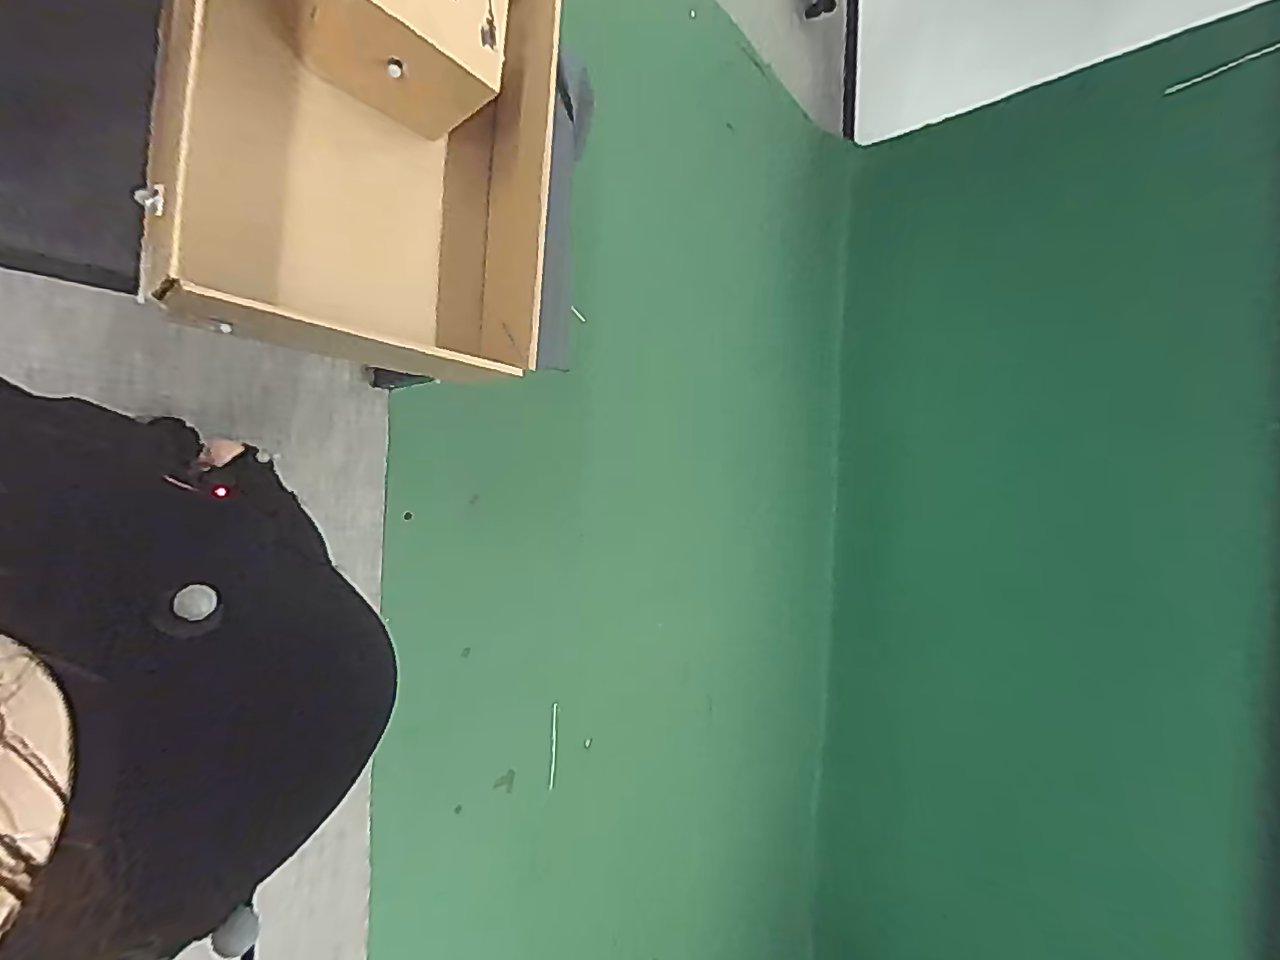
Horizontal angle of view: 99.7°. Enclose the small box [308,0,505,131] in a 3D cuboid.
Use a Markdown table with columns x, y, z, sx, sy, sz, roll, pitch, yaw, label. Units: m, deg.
| x | y | z | sx | sy | sz | roll | pitch | yaw | label |
| --- | --- | --- | --- | --- | --- | --- | --- | --- | --- |
| -0.290 | -0.581 | 0.674 | 0.179 | 0.176 | 0.168 | 6 | 89 | -47 | small box |
